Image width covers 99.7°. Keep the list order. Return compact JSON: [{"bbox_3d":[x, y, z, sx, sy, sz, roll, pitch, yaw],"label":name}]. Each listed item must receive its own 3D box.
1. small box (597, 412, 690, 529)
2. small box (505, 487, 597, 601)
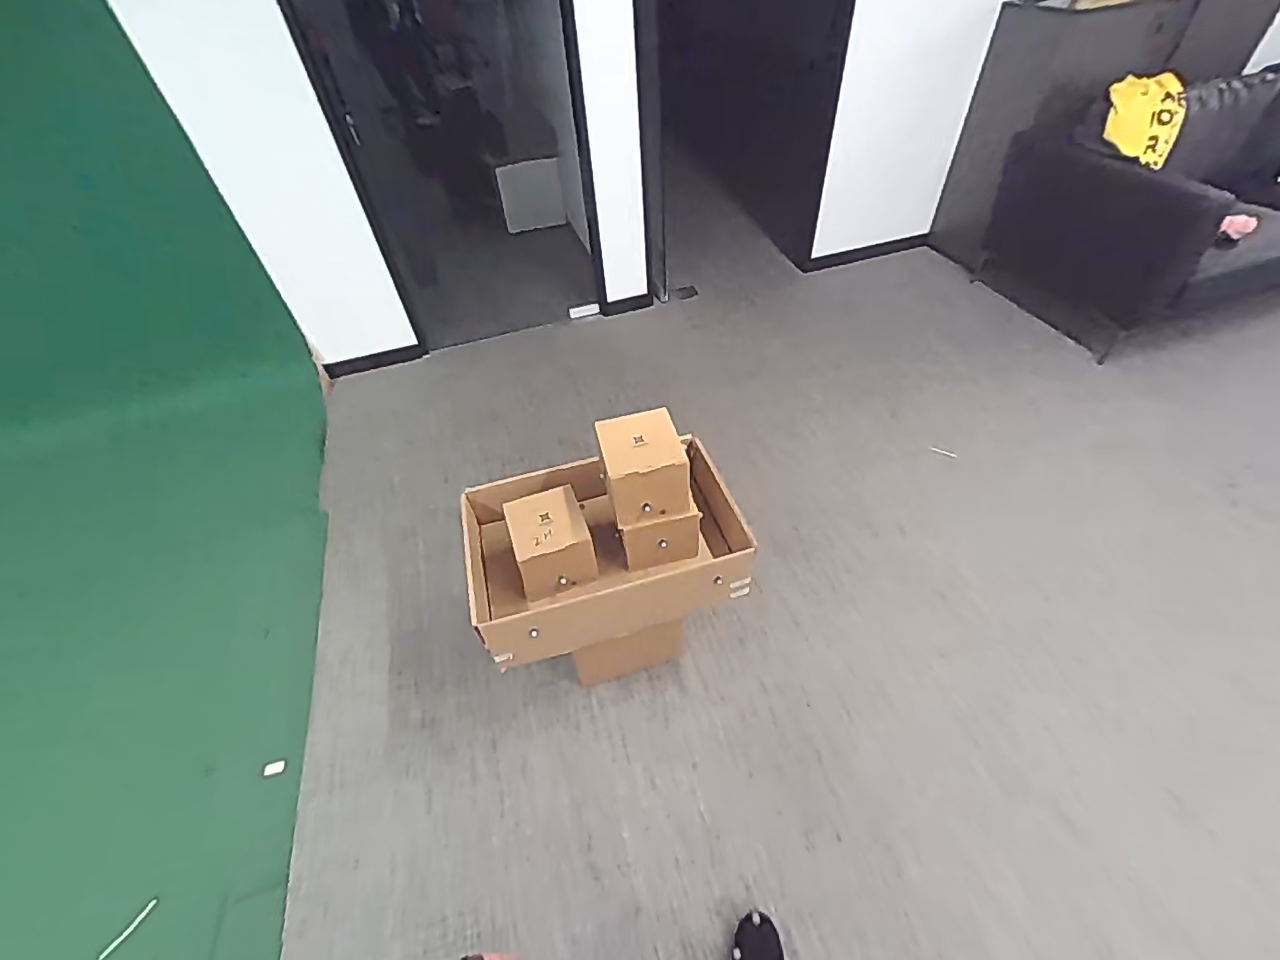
[{"bbox_3d":[0.007,-0.020,1.187,0.168,0.176,0.179,-13,47,-6],"label":"small box"},{"bbox_3d":[-0.205,0.150,1.263,0.168,0.176,0.179,-17,48,-12],"label":"small box"}]
